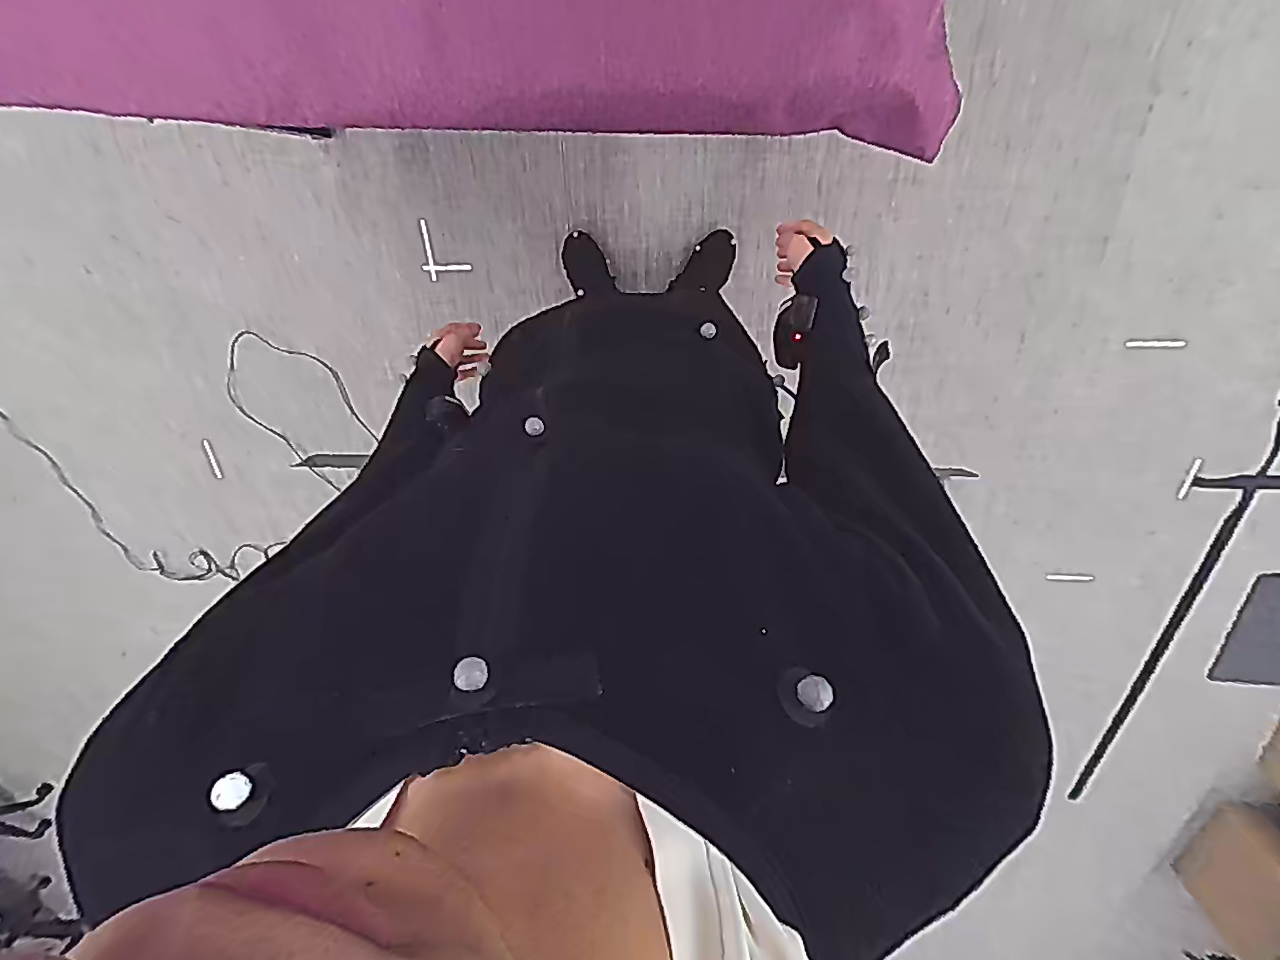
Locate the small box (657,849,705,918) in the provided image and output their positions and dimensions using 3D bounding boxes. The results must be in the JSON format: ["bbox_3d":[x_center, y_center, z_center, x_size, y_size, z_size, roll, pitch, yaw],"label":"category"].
[{"bbox_3d":[0.160,1.580,2.120,0.179,0.176,0.168,-3,118,4],"label":"small box"}]

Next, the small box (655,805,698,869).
[{"bbox_3d":[0.152,1.502,2.265,0.168,0.176,0.179,3,118,0],"label":"small box"}]
